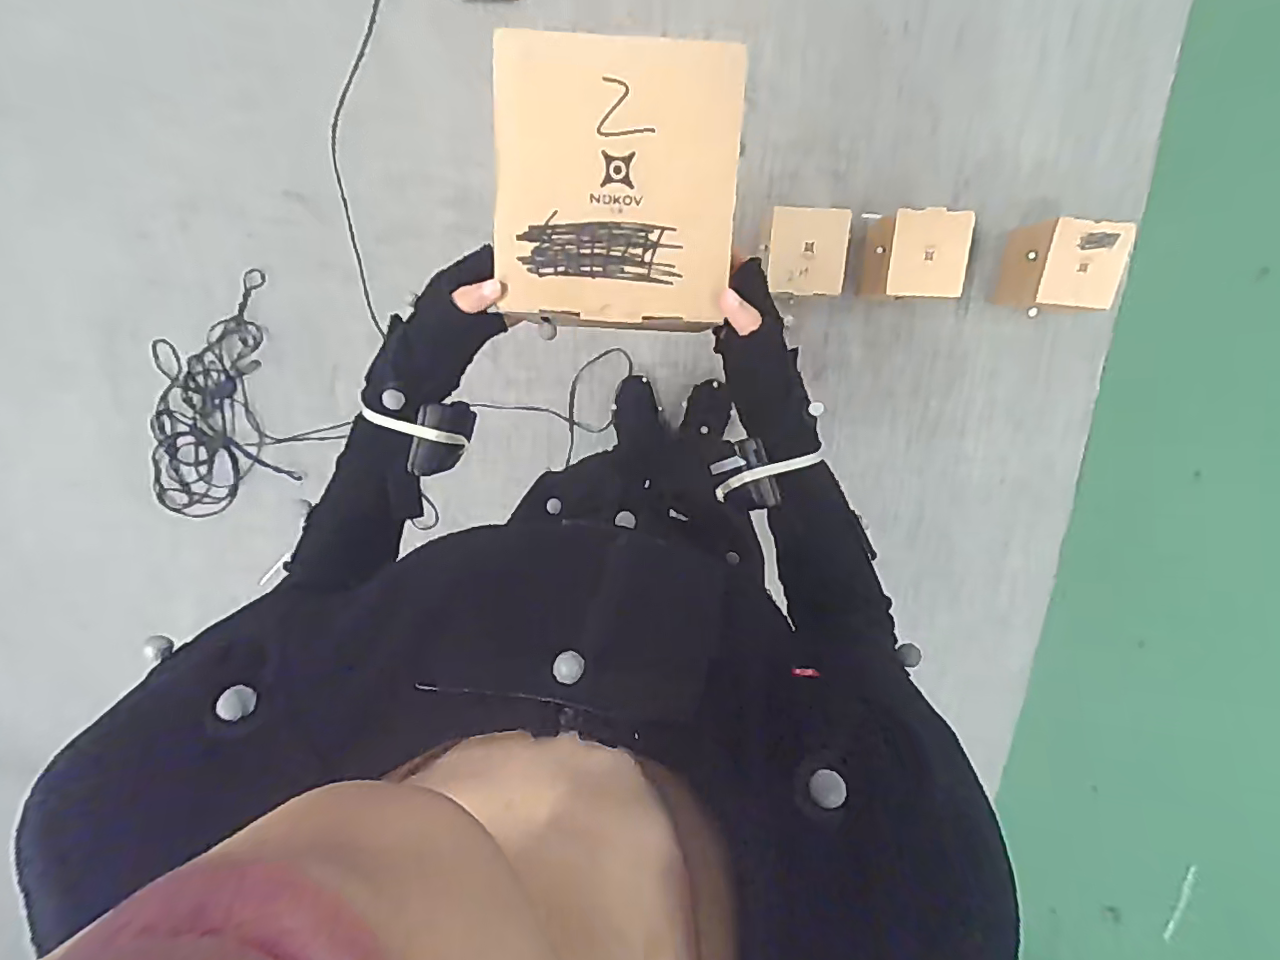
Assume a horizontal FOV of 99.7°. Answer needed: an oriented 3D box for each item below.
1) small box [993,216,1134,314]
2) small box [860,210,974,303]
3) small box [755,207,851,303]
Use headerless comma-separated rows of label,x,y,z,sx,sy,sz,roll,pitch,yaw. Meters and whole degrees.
small box,0.942,-0.477,1.222,0.168,0.176,0.179,6,105,1
small box,0.617,-0.499,1.229,0.168,0.176,0.179,2,104,1
small box,0.361,-0.505,1.232,0.168,0.176,0.179,3,105,2
